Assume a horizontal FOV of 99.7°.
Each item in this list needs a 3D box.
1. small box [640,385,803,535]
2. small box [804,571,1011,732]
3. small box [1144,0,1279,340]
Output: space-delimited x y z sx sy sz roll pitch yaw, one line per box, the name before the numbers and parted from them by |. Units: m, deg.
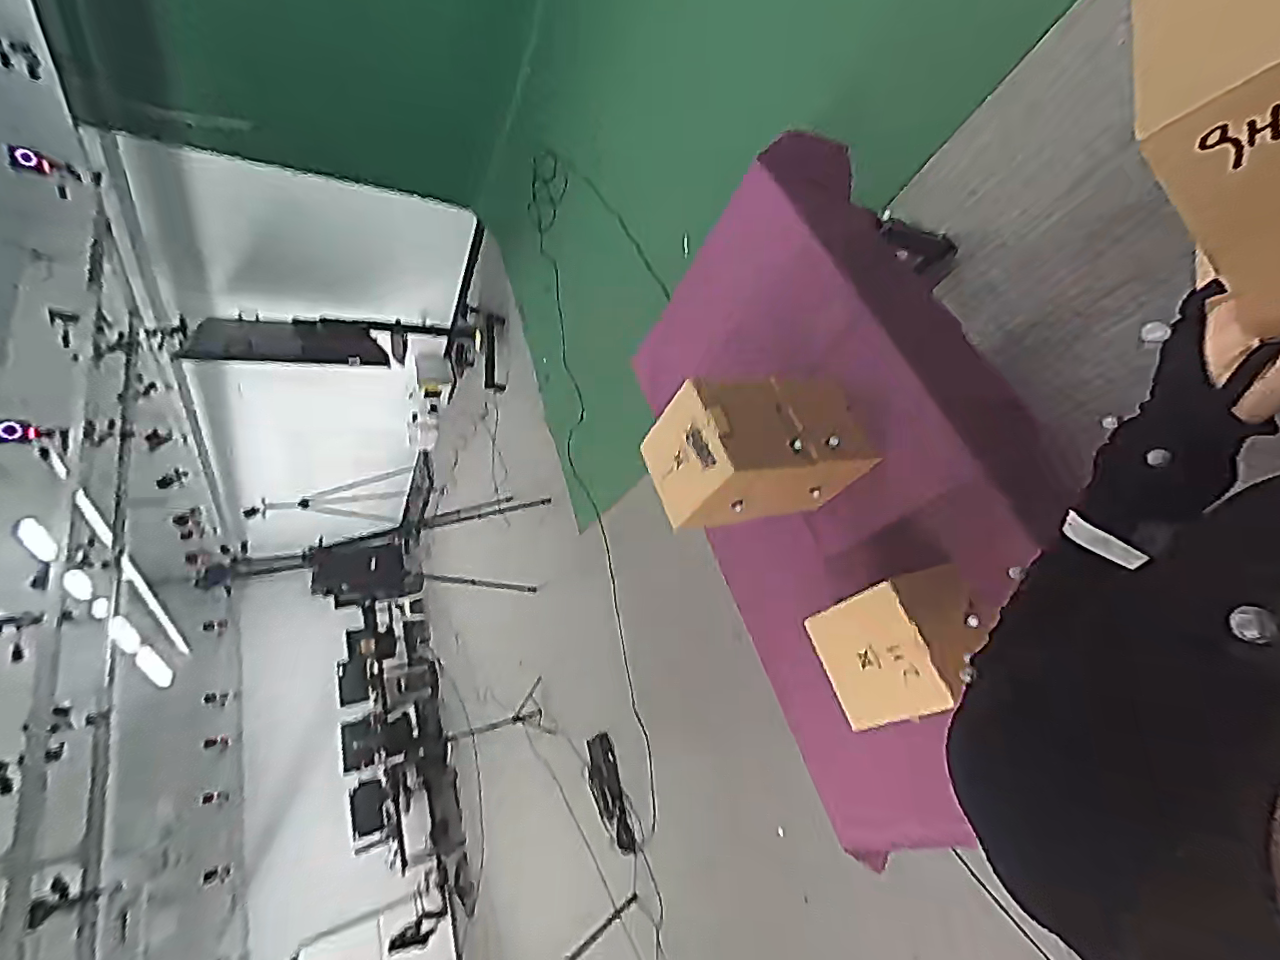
small box | 0.131 -0.033 0.855 0.179 0.176 0.168 -53 50 48
small box | 0.385 0.248 0.790 0.179 0.176 0.168 -50 53 47
small box | 0.368 -0.203 0.243 0.168 0.179 0.176 -19 44 57
